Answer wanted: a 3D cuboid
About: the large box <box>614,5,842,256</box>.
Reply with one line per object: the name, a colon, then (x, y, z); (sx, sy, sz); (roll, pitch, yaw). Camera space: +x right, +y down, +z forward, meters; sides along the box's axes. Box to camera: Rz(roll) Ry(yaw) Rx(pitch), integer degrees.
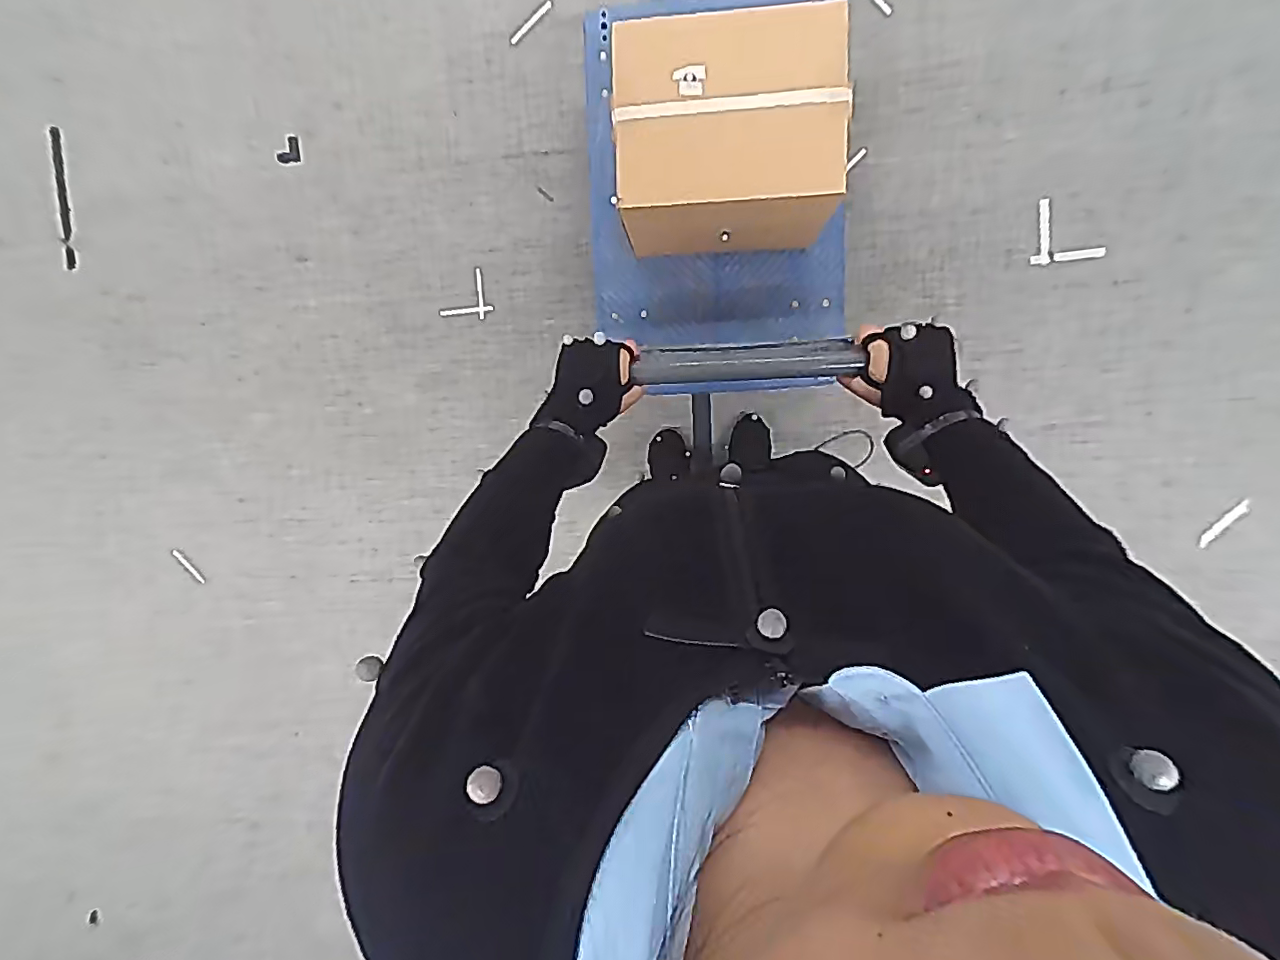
large box: (0.174, -0.674, 1.112); (0.408, 0.320, 0.320); (-1, 96, 7)
